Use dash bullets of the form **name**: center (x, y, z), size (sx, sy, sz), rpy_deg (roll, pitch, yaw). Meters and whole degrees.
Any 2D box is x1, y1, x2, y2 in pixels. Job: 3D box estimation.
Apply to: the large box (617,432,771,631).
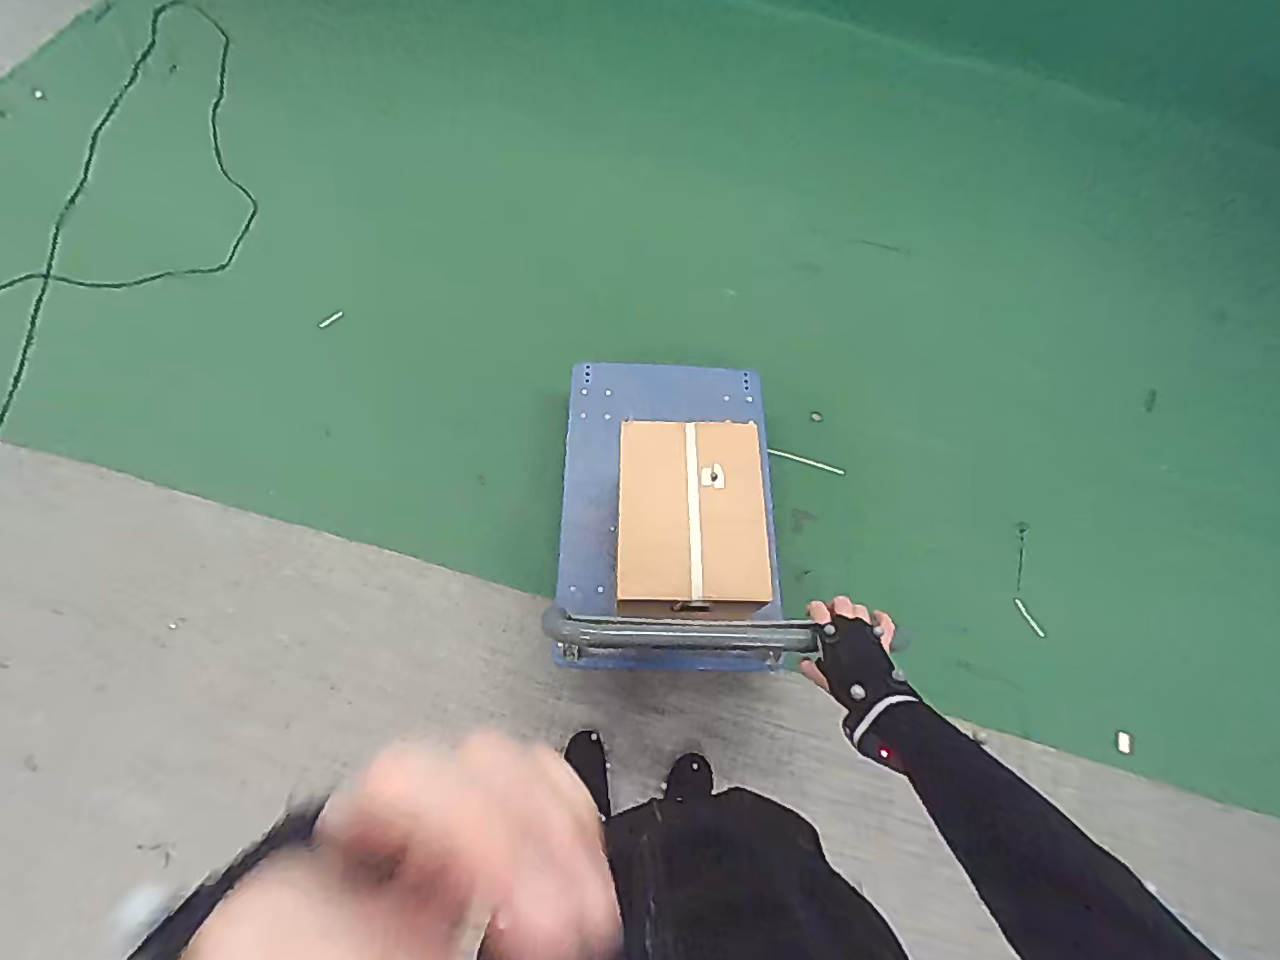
- **large box**: center (0.103, 0.135, 1.293), size (0.320, 0.320, 0.408), rpy_deg (1, 65, -3)
